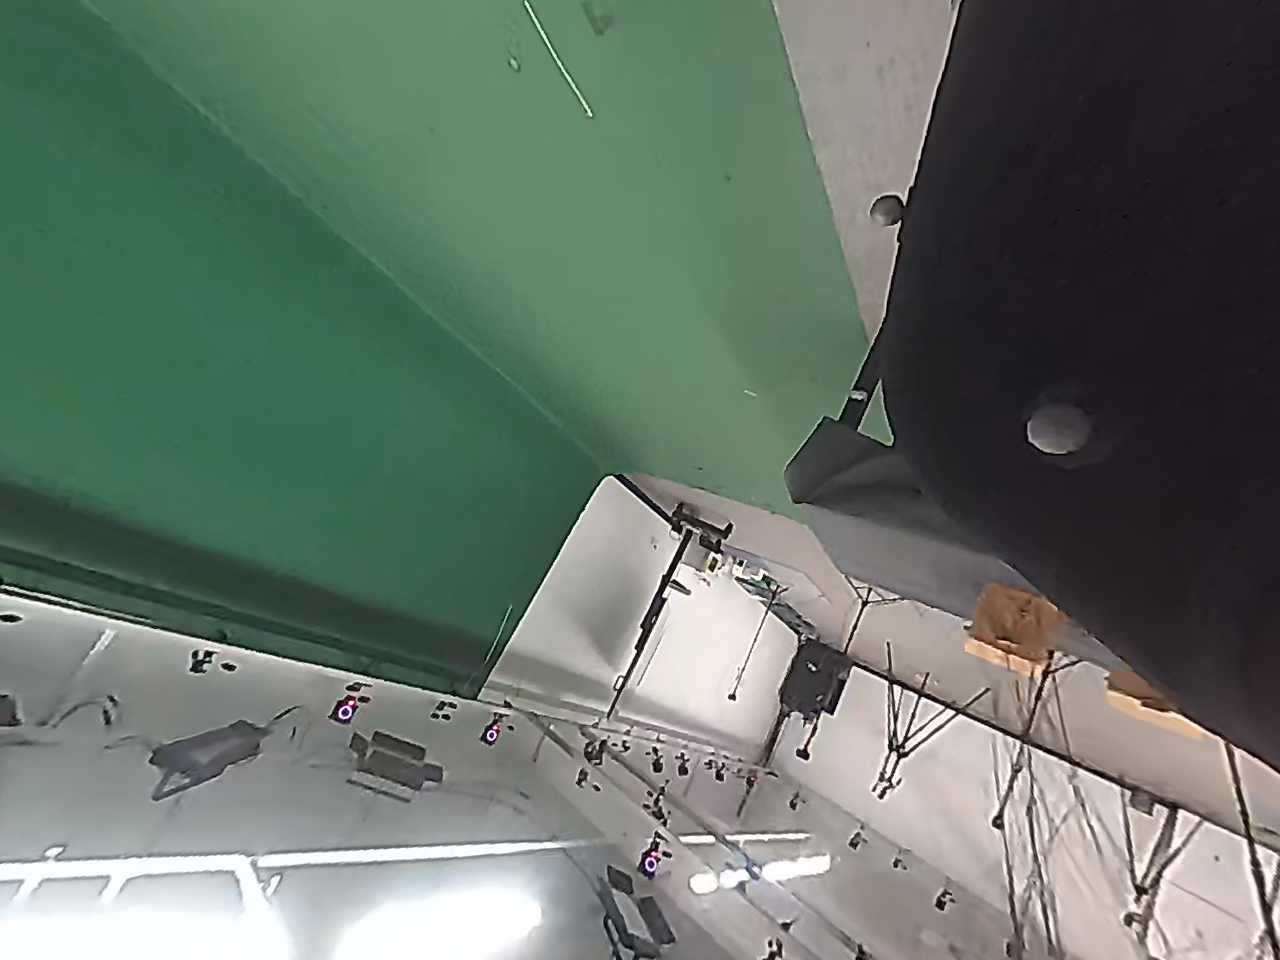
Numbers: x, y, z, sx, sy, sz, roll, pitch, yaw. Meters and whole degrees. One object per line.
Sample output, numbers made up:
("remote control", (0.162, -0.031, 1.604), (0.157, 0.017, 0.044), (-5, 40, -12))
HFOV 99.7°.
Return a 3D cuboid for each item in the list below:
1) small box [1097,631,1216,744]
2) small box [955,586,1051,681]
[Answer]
("small box", (1.167, 0.463, 1.226), (0.168, 0.176, 0.179), (16, 163, 48))
("small box", (0.958, 0.404, 1.432), (0.168, 0.176, 0.179), (20, 164, 34))
